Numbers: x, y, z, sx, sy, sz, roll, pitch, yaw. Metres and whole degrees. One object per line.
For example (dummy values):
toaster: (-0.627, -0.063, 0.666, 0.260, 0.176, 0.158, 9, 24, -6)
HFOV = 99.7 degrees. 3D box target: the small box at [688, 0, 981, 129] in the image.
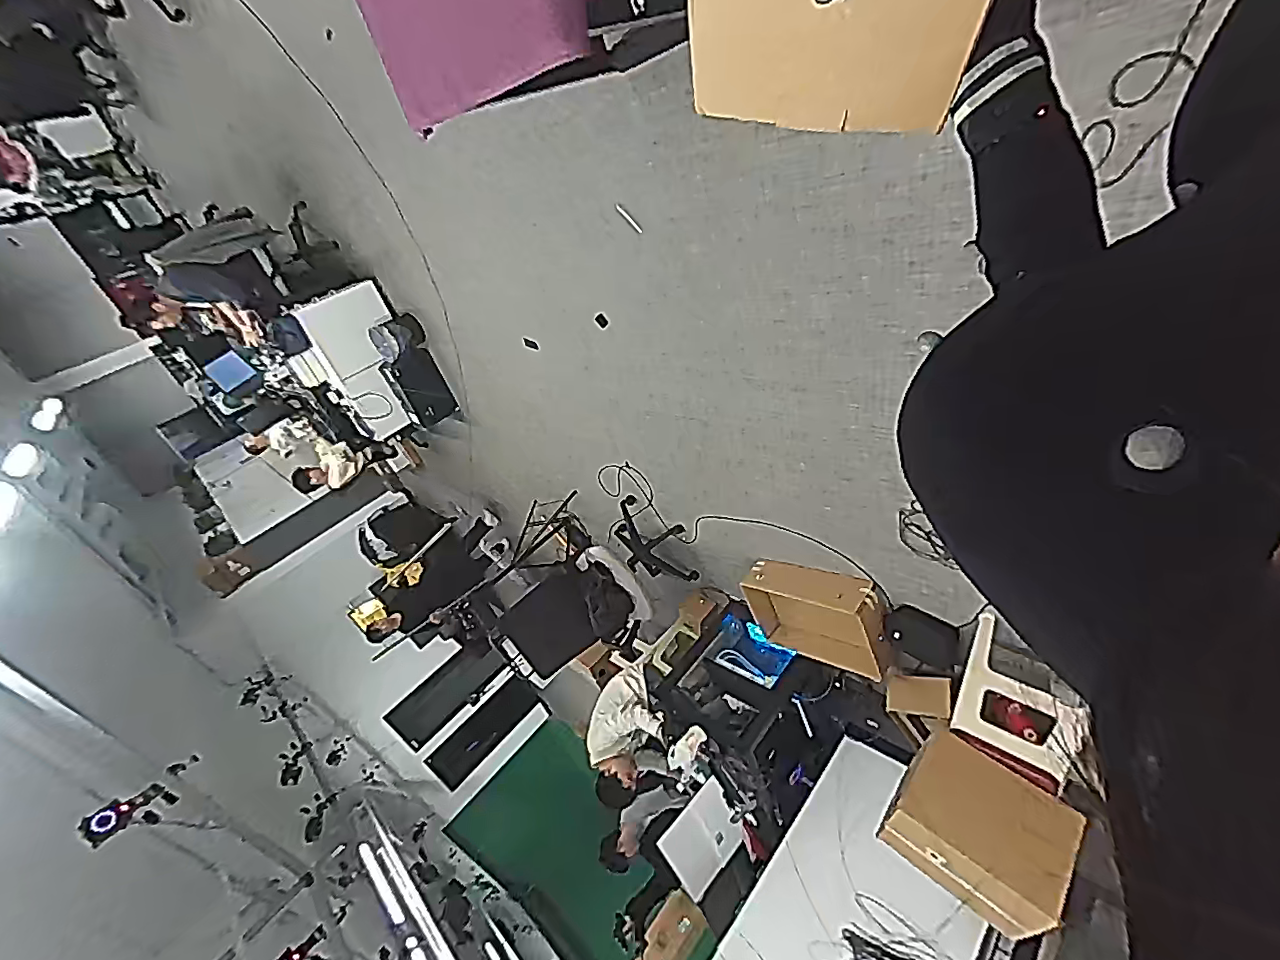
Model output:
small box: (0.124, -0.344, 0.305, 0.168, 0.179, 0.176, 17, 165, 15)
